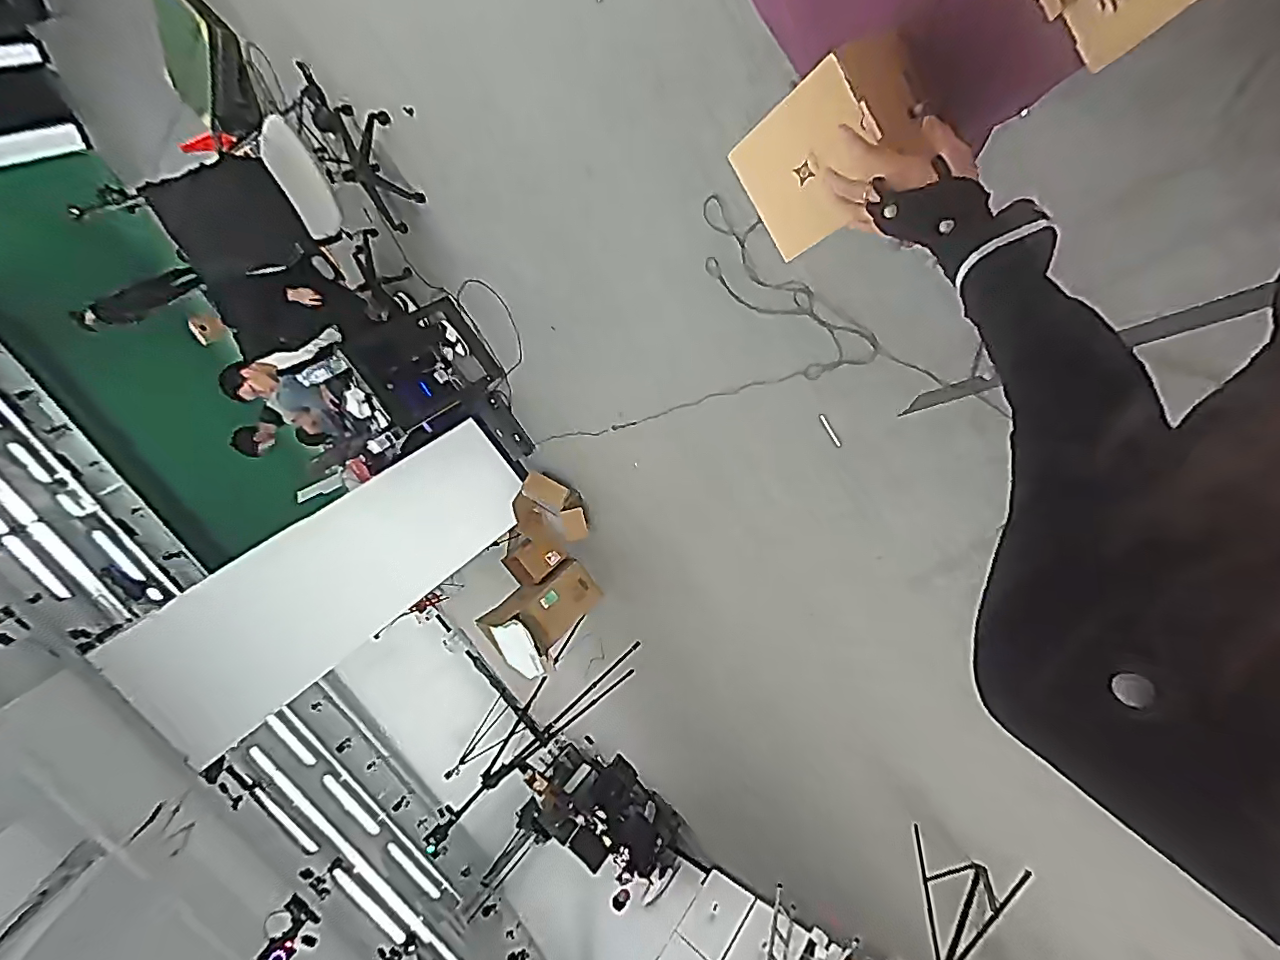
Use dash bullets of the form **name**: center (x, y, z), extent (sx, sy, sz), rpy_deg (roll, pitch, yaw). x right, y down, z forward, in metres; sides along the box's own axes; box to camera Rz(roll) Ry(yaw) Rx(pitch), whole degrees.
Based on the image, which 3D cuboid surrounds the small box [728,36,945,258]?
- **small box**: center (0.257, -0.430, 0.708), extent (0.168, 0.176, 0.179), rpy_deg (56, 147, -11)
